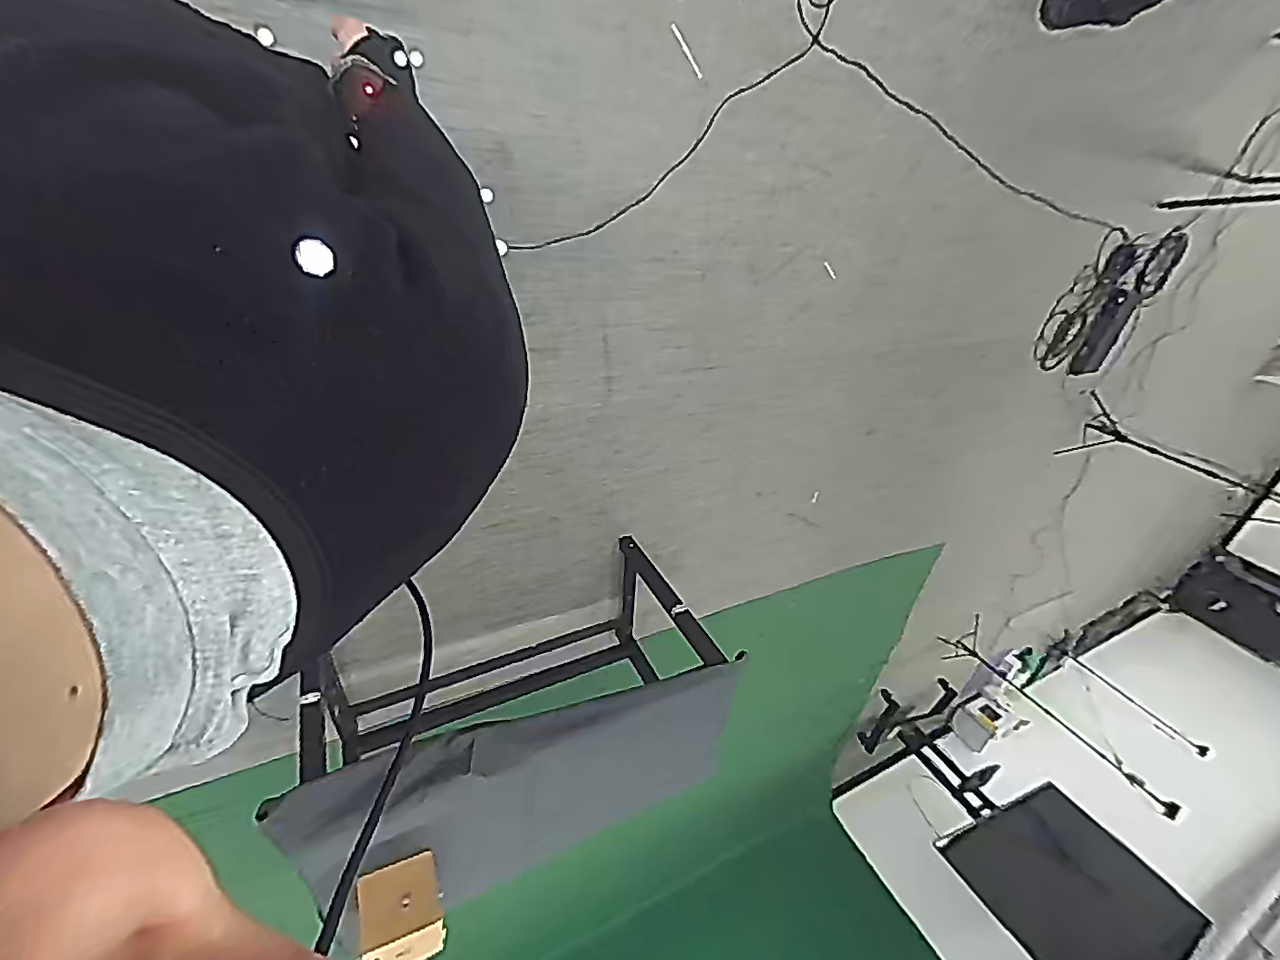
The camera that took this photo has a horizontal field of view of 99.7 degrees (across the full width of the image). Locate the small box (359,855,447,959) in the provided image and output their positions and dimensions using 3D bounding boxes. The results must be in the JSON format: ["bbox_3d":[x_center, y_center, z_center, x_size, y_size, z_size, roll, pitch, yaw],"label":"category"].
[{"bbox_3d":[-0.587,1.080,1.338,0.179,0.176,0.168,-7,122,-29],"label":"small box"}]
